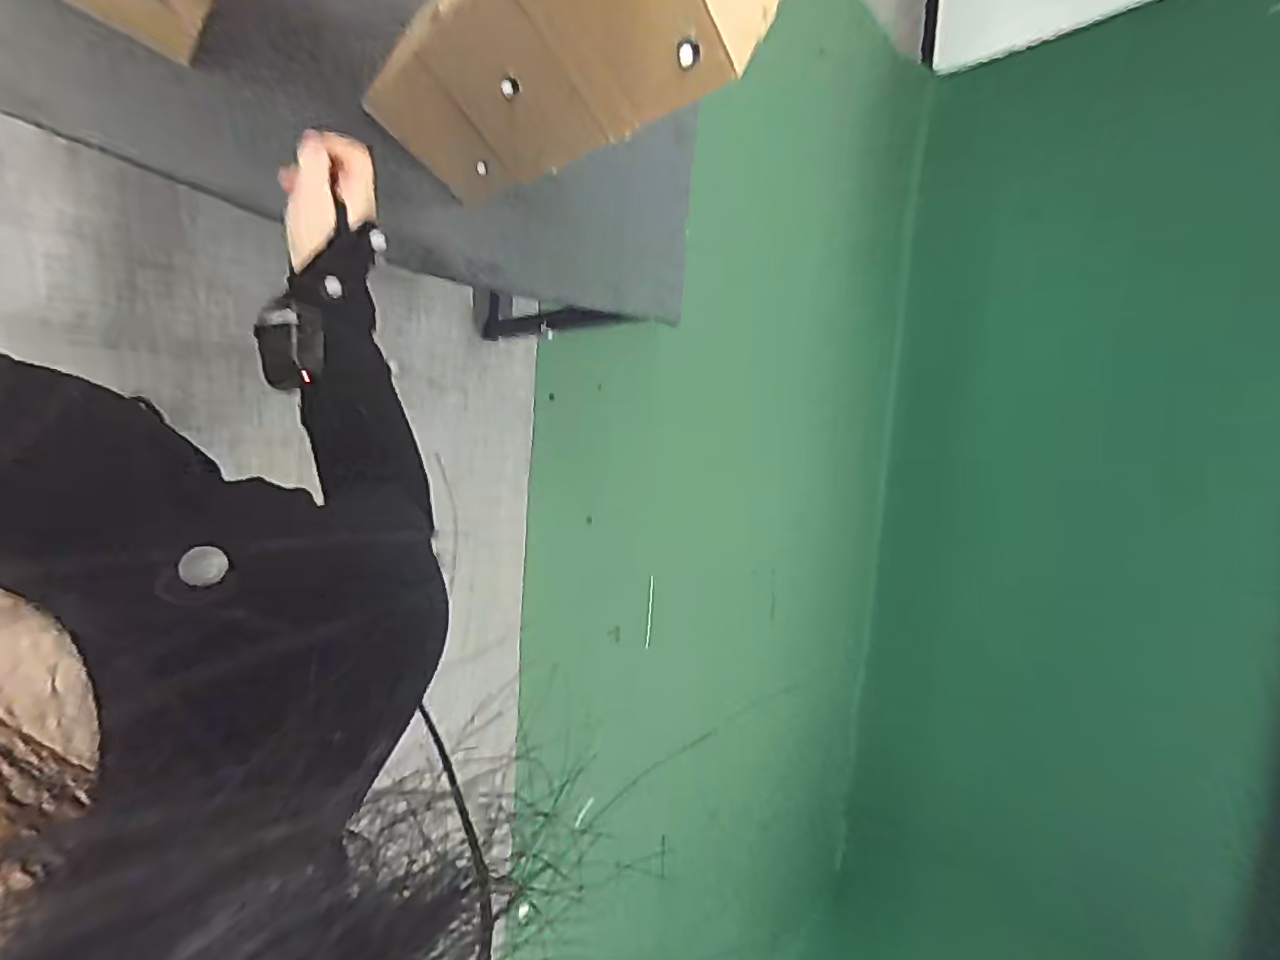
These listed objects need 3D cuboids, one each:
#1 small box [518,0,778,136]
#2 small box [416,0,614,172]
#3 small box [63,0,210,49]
[{"bbox_3d":[0.007,-0.465,0.493,0.179,0.176,0.168,41,65,-42],"label":"small box"},{"bbox_3d":[-0.108,-0.481,0.607,0.179,0.176,0.168,44,64,-40],"label":"small box"},{"bbox_3d":[-0.470,-0.524,0.464,0.179,0.176,0.168,12,86,-46],"label":"small box"}]
